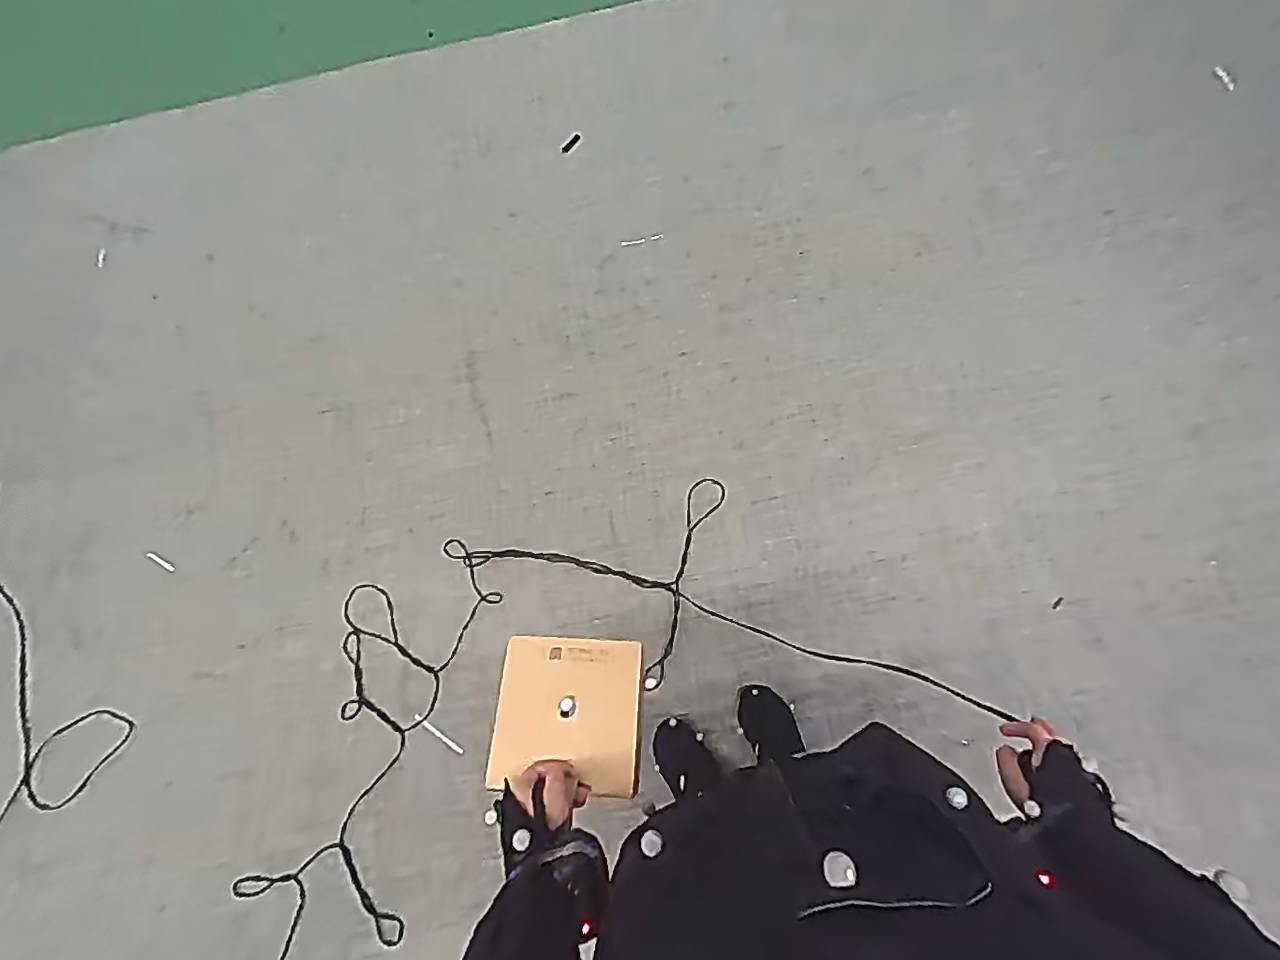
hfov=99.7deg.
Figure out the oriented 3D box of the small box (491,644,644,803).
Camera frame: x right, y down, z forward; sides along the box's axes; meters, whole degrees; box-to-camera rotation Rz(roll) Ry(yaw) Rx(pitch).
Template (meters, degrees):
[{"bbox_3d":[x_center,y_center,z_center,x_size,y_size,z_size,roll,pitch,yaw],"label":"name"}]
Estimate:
[{"bbox_3d":[-0.080,0.312,0.696,0.168,0.179,0.176,1,63,3],"label":"small box"}]
